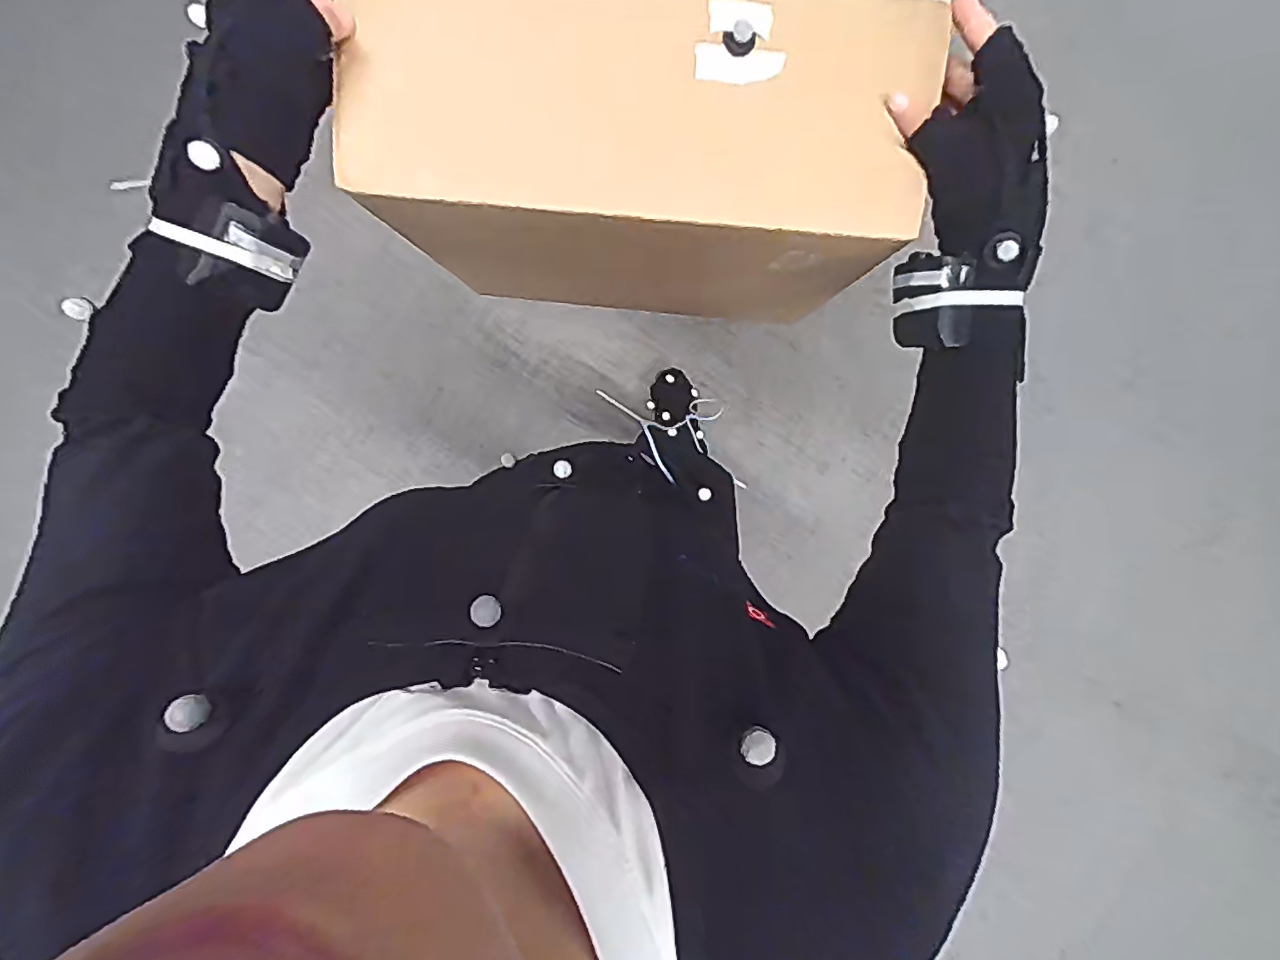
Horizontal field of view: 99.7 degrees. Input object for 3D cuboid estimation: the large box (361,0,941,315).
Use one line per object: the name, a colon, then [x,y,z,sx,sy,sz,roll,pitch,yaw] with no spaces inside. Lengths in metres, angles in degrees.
large box: [0.008,-0.356,0.518,0.408,0.320,0.320,4,96,-1]
